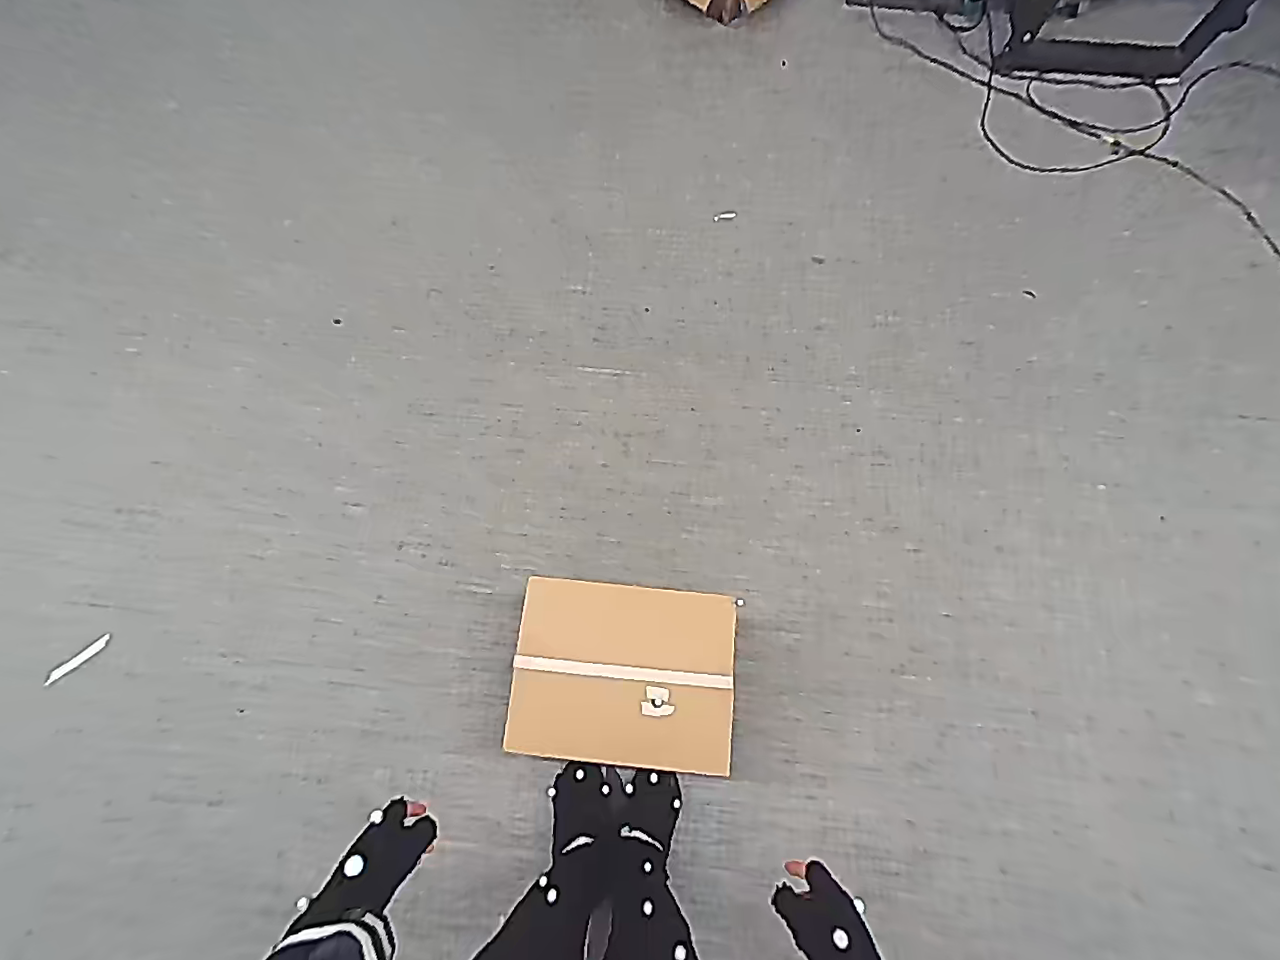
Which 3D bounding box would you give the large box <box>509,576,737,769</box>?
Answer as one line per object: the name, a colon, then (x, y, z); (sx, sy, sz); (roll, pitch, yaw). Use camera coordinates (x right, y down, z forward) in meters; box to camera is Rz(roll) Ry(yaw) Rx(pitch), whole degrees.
large box: (-0.026, 0.391, 1.138); (0.408, 0.320, 0.320); (6, 74, 1)
